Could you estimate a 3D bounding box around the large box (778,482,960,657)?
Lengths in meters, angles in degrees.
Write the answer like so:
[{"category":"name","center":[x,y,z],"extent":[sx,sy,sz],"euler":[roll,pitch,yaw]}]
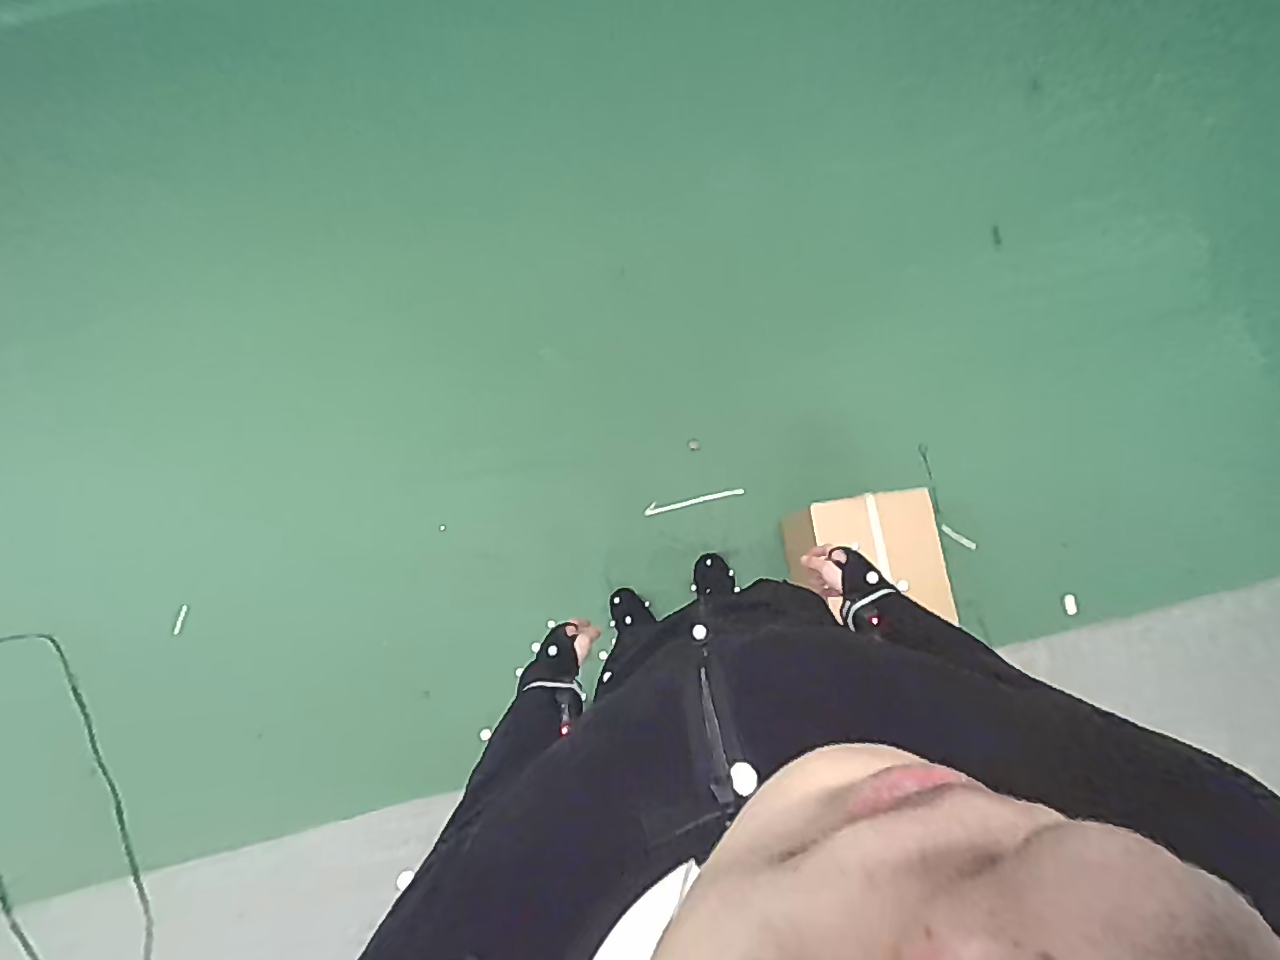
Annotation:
[{"category":"large box","center":[0.609,0.242,1.509],"extent":[0.320,0.320,0.408],"euler":[-9,81,-1]}]
